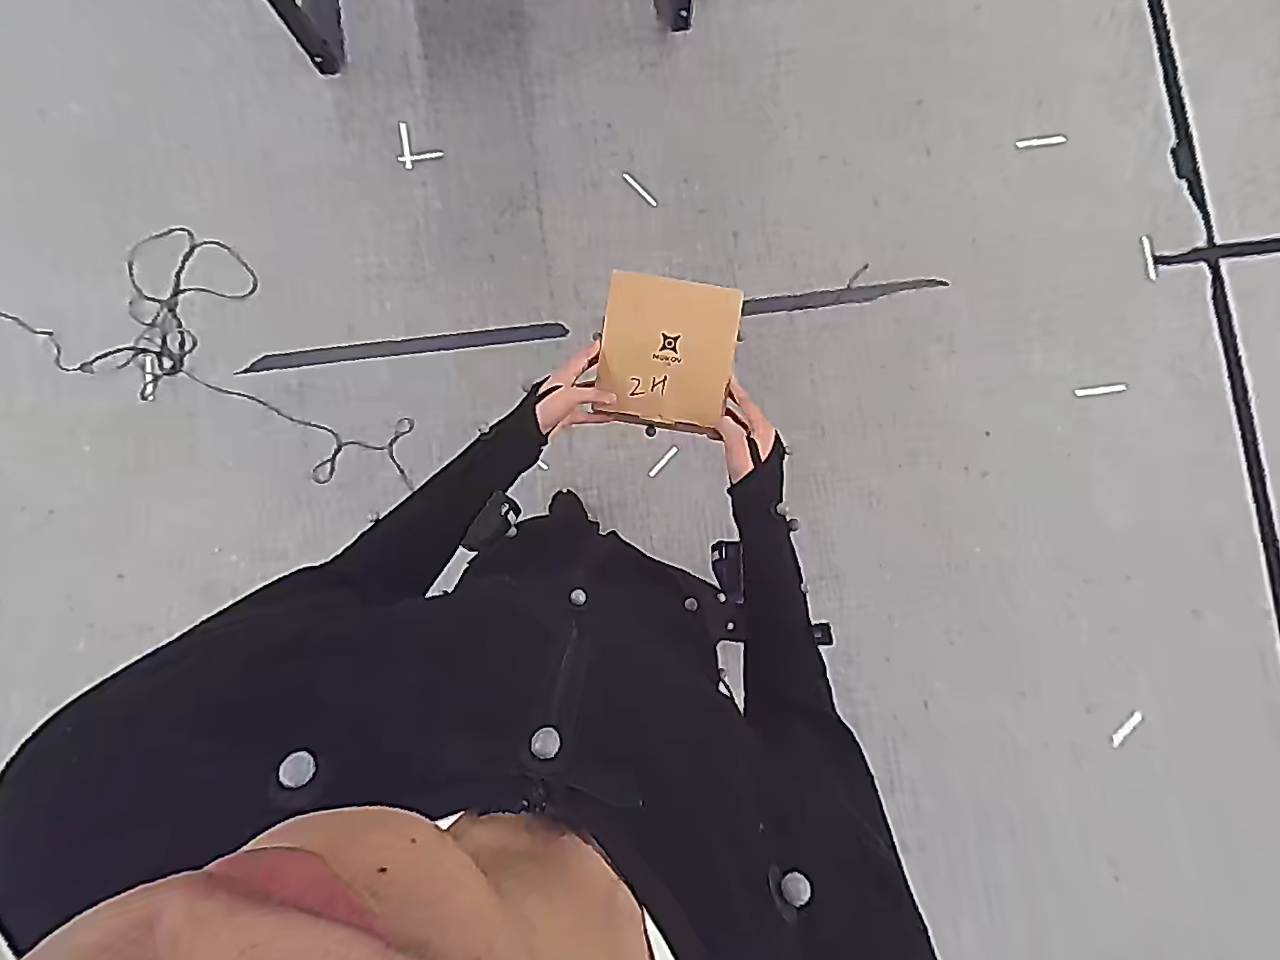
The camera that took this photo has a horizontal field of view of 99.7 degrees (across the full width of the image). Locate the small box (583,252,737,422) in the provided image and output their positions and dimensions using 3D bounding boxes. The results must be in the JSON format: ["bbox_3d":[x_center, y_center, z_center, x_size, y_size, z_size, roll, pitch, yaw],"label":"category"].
[{"bbox_3d":[0.021,-0.179,0.728,0.168,0.176,0.179,9,94,-2],"label":"small box"}]
